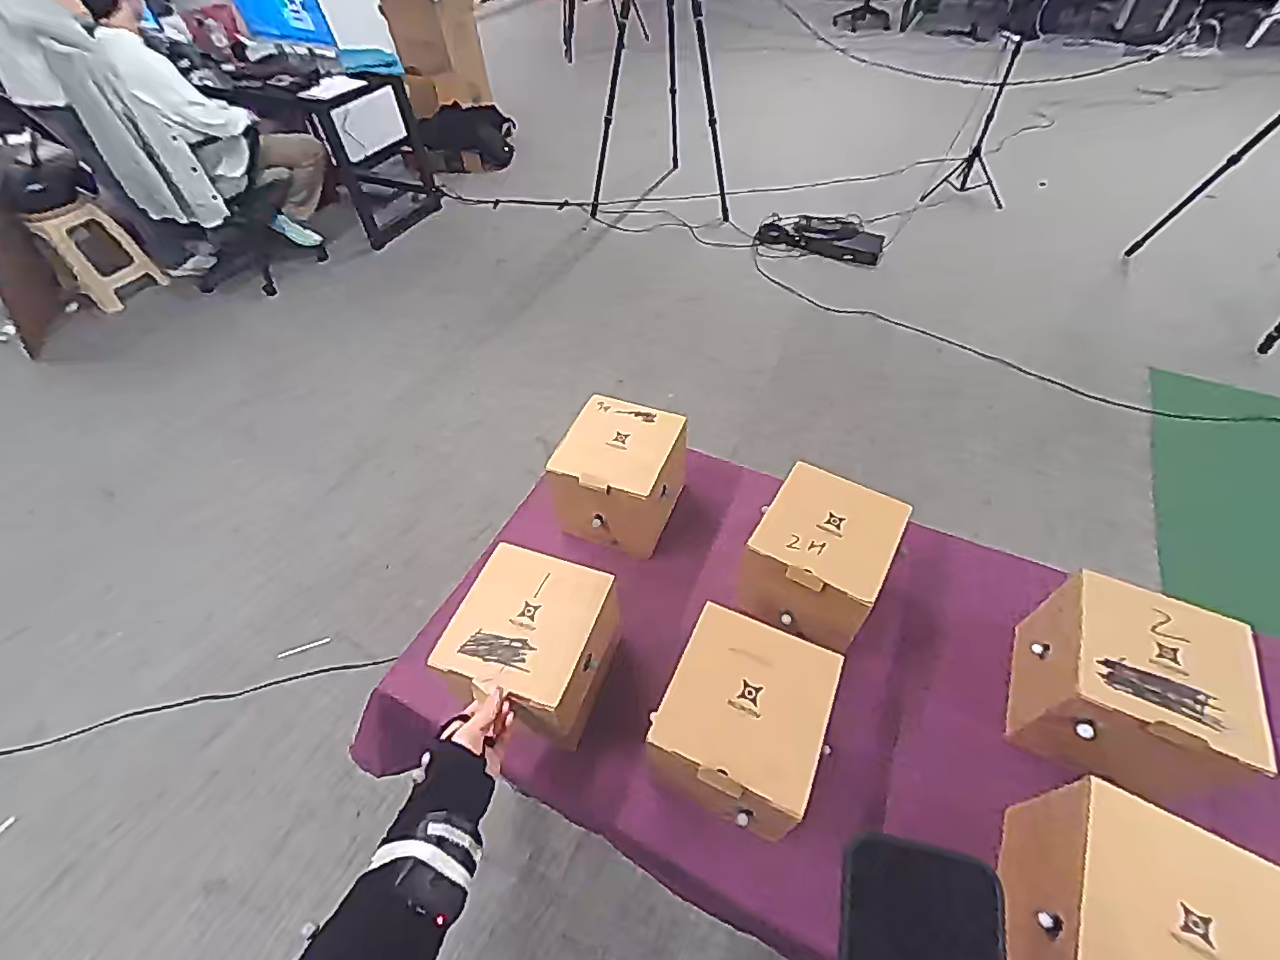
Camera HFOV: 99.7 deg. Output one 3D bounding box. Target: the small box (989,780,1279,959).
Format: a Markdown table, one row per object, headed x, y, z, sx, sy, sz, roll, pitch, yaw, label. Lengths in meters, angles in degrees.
| x | y | z | sx | sy | sz | roll | pitch | yaw | label |
| --- | --- | --- | --- | --- | --- | --- | --- | --- | --- |
| 0.457 | 0.422 | 0.501 | 0.168 | 0.176 | 0.179 | 23 | 55 | 21 | small box |

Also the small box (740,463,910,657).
| x | y | z | sx | sy | sz | roll | pitch | yaw | label |
| --- | --- | --- | --- | --- | --- | --- | --- | --- | --- |
| 0.253 | 0.115 | 0.771 | 0.168 | 0.176 | 0.179 | 25 | 56 | 23 | small box |

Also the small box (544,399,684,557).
| x | y | z | sx | sy | sz | roll | pitch | yaw | label |
| --- | --- | --- | --- | --- | --- | --- | --- | --- | --- |
| -0.032 | 0.000 | 0.884 | 0.168 | 0.176 | 0.179 | 16 | 54 | 15 | small box |

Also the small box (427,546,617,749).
| x | y | z | sx | sy | sz | roll | pitch | yaw | label |
| --- | --- | --- | --- | --- | --- | --- | --- | --- | --- |
| -0.135 | 0.220 | 0.704 | 0.168 | 0.176 | 0.179 | 14 | 51 | 14 | small box |

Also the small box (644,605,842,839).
| x | y | z | sx | sy | sz | roll | pitch | yaw | label |
| --- | --- | --- | --- | --- | --- | --- | --- | --- | --- |
| 0.118 | 0.287 | 0.636 | 0.168 | 0.176 | 0.179 | 20 | 53 | 18 | small box |
